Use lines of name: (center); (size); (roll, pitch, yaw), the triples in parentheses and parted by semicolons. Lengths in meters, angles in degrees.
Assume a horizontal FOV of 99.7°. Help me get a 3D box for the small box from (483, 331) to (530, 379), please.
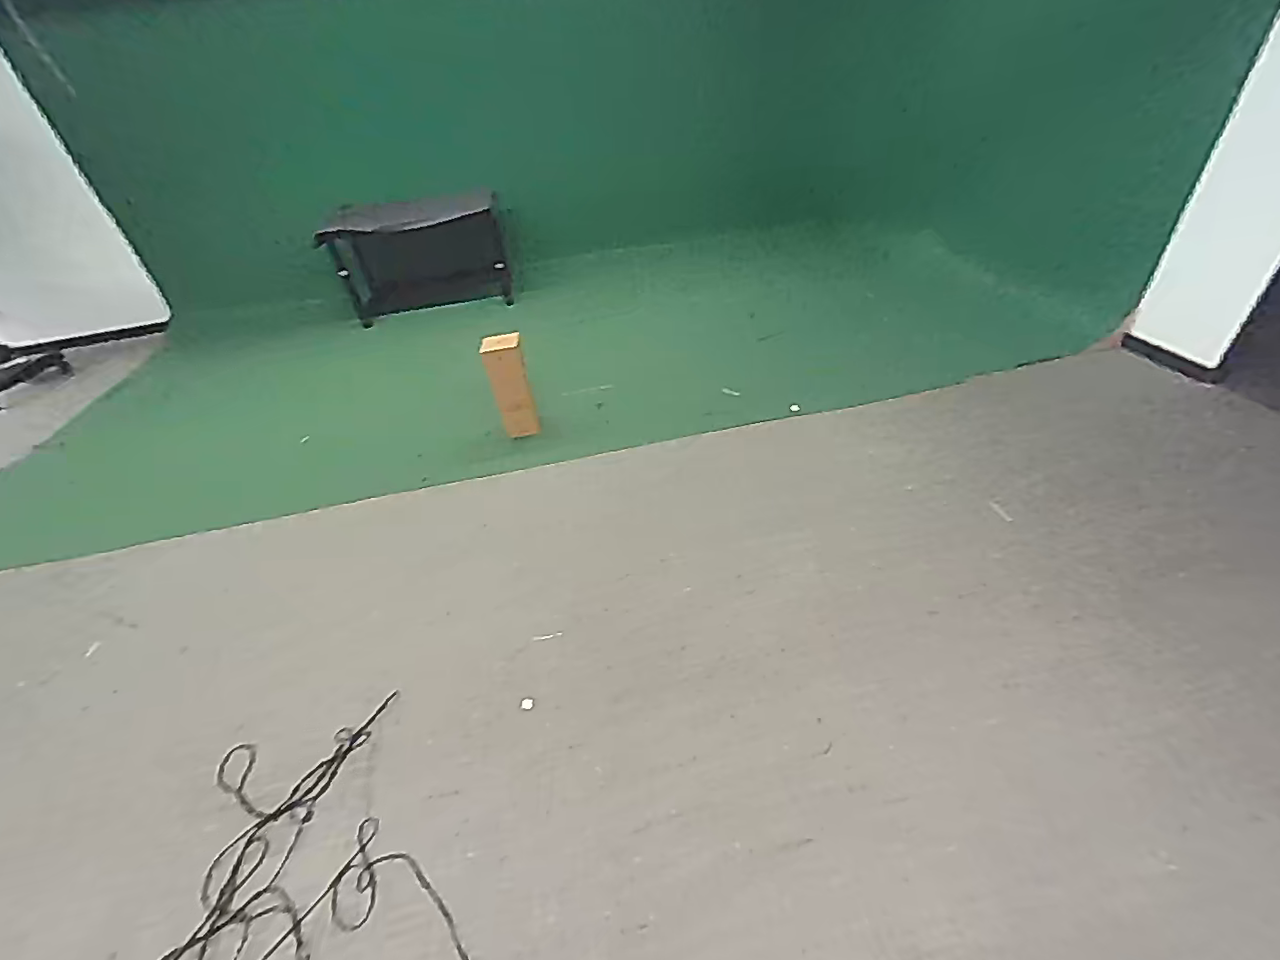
small box: (-0.646, -0.607, 2.637); (0.179, 0.176, 0.168); (-9, 40, -1)

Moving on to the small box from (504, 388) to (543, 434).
small box: (-0.612, -0.357, 2.848); (0.168, 0.176, 0.179); (-11, 38, -3)
